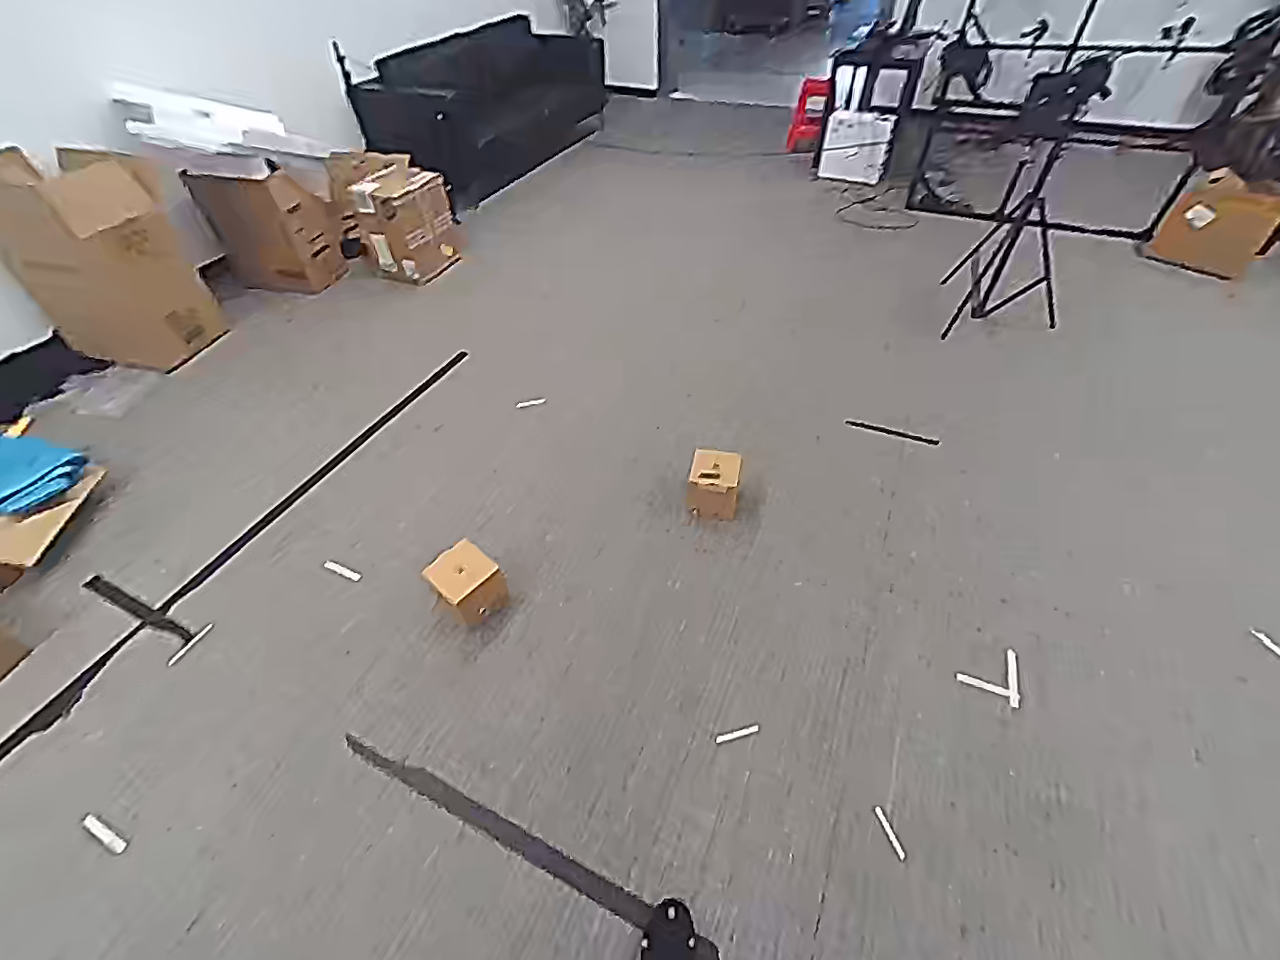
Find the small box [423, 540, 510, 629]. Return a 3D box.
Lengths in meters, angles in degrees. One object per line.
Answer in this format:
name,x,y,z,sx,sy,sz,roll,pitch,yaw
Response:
small box,-0.530,0.325,1.666,0.179,0.176,0.168,31,56,26

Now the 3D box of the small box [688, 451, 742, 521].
small box,0.266,0.024,1.933,0.168,0.176,0.179,9,46,10
